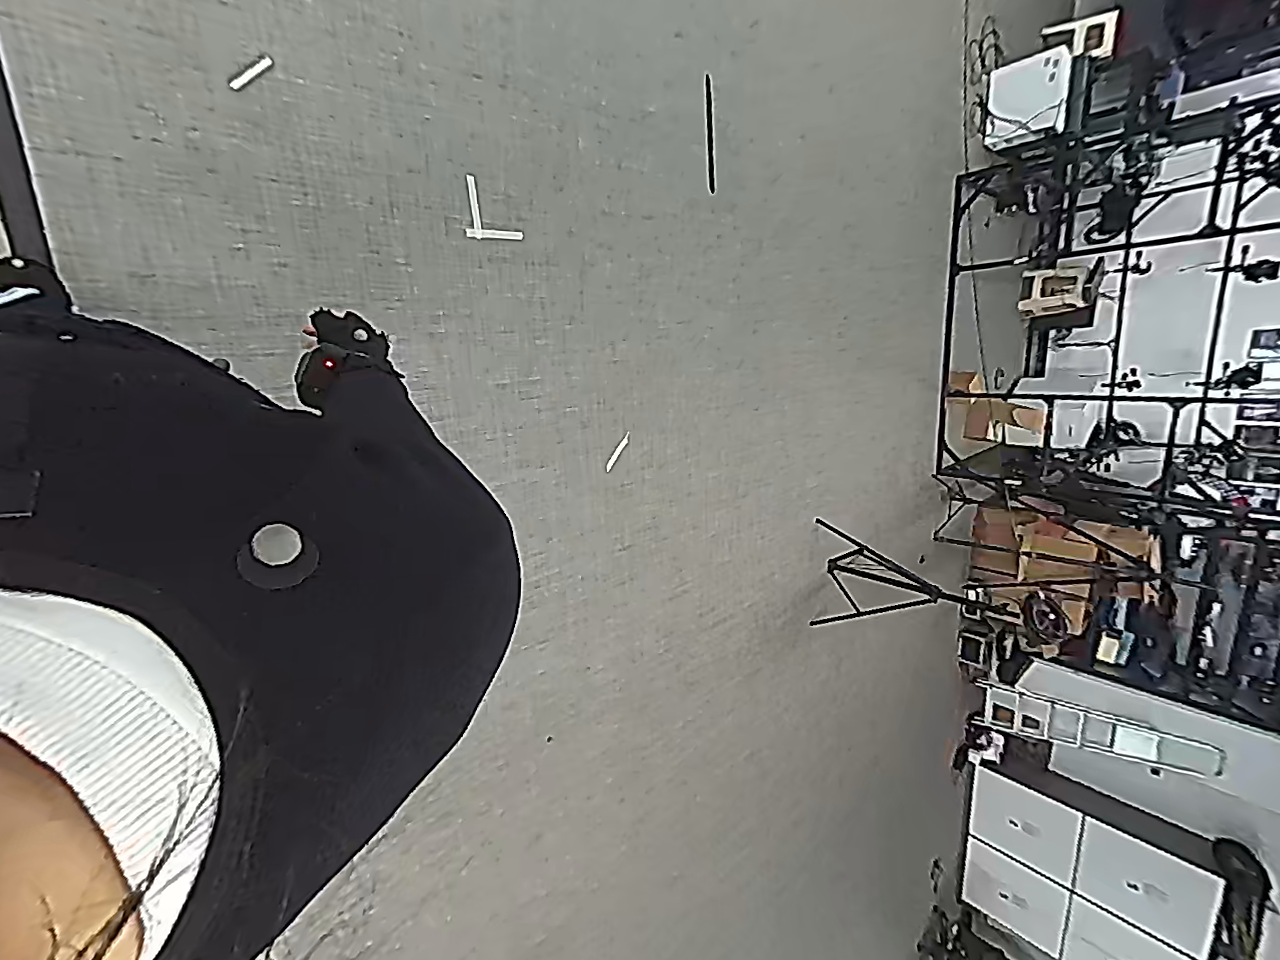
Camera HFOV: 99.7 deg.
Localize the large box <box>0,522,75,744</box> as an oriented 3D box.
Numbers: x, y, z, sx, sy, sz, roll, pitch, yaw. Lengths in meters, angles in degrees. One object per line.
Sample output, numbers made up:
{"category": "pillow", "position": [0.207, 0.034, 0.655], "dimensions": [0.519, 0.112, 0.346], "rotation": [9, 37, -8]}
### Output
{"category": "large box", "position": [-0.911, 0.142, 0.546], "dimensions": [0.320, 0.408, 0.320], "rotation": [-38, 147, -32]}
